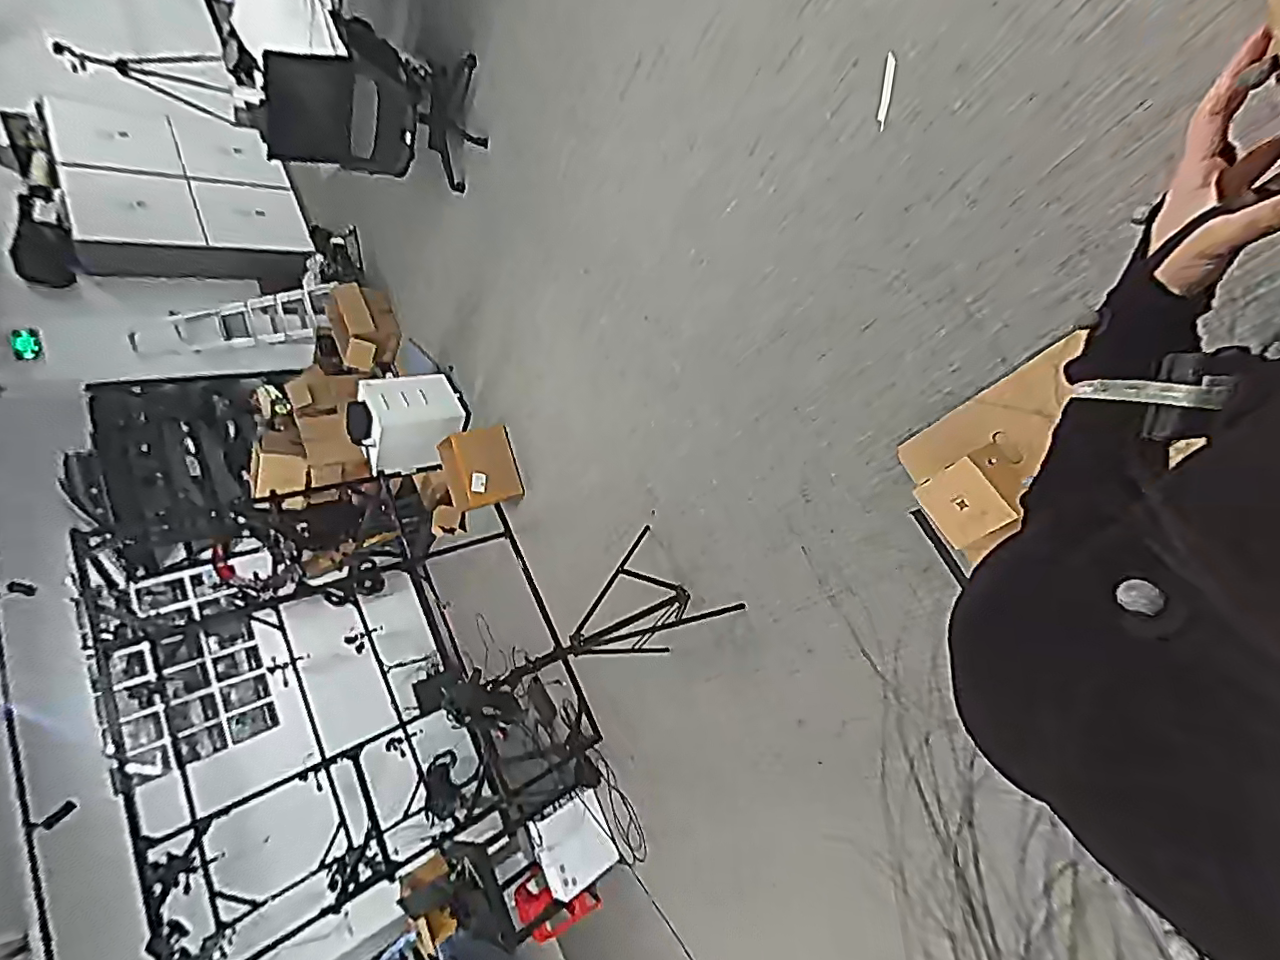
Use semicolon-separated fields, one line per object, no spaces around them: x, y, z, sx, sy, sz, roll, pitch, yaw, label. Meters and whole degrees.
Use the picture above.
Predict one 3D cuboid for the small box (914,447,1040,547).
0.821;0.033;1.319;0.179;0.176;0.168;59;140;19;small box
